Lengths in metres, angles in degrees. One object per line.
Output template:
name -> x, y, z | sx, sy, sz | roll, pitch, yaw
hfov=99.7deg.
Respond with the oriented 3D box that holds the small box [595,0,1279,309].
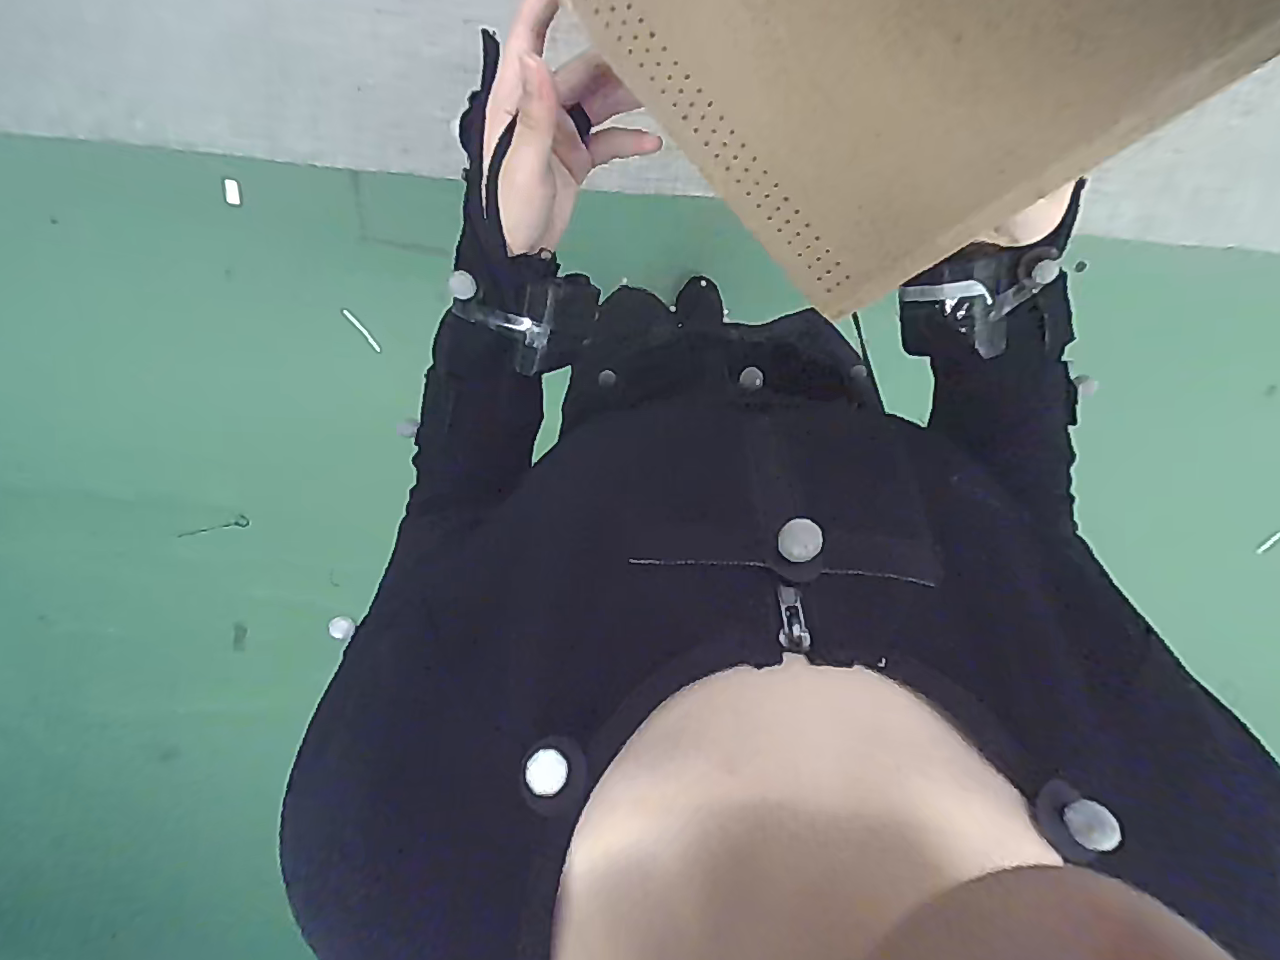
small box -> 0.104, -0.192, 0.176 | 0.179, 0.176, 0.168 | 45, 79, -6
